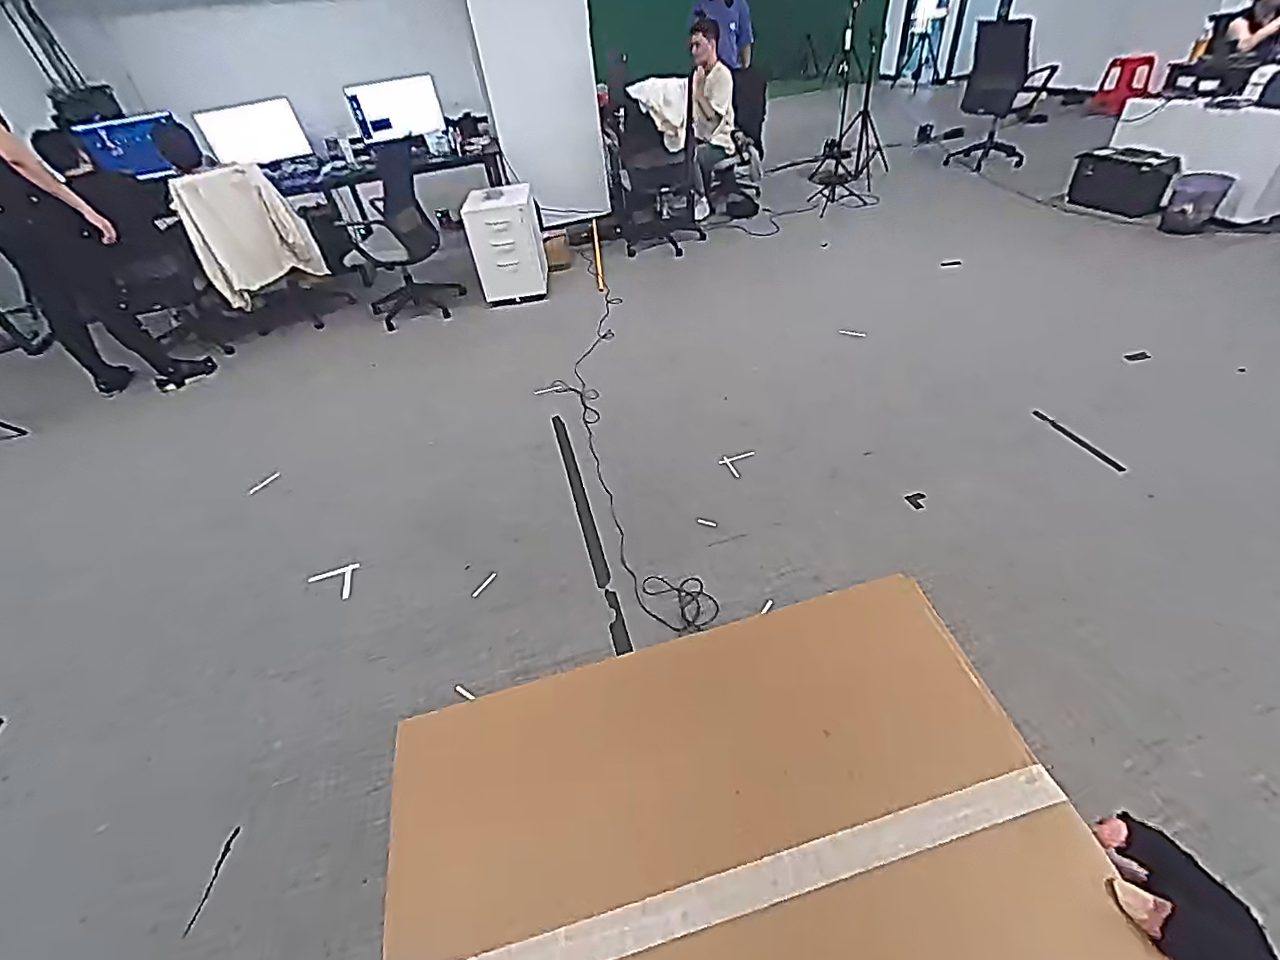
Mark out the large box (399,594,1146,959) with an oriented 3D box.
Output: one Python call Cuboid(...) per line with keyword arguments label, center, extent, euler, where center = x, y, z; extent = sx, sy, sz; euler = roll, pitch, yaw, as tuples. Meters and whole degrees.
Cuboid(label="large box", center=(0.074, 0.348, 0.427), extent=(0.408, 0.320, 0.320), euler=(-16, 47, -4))
